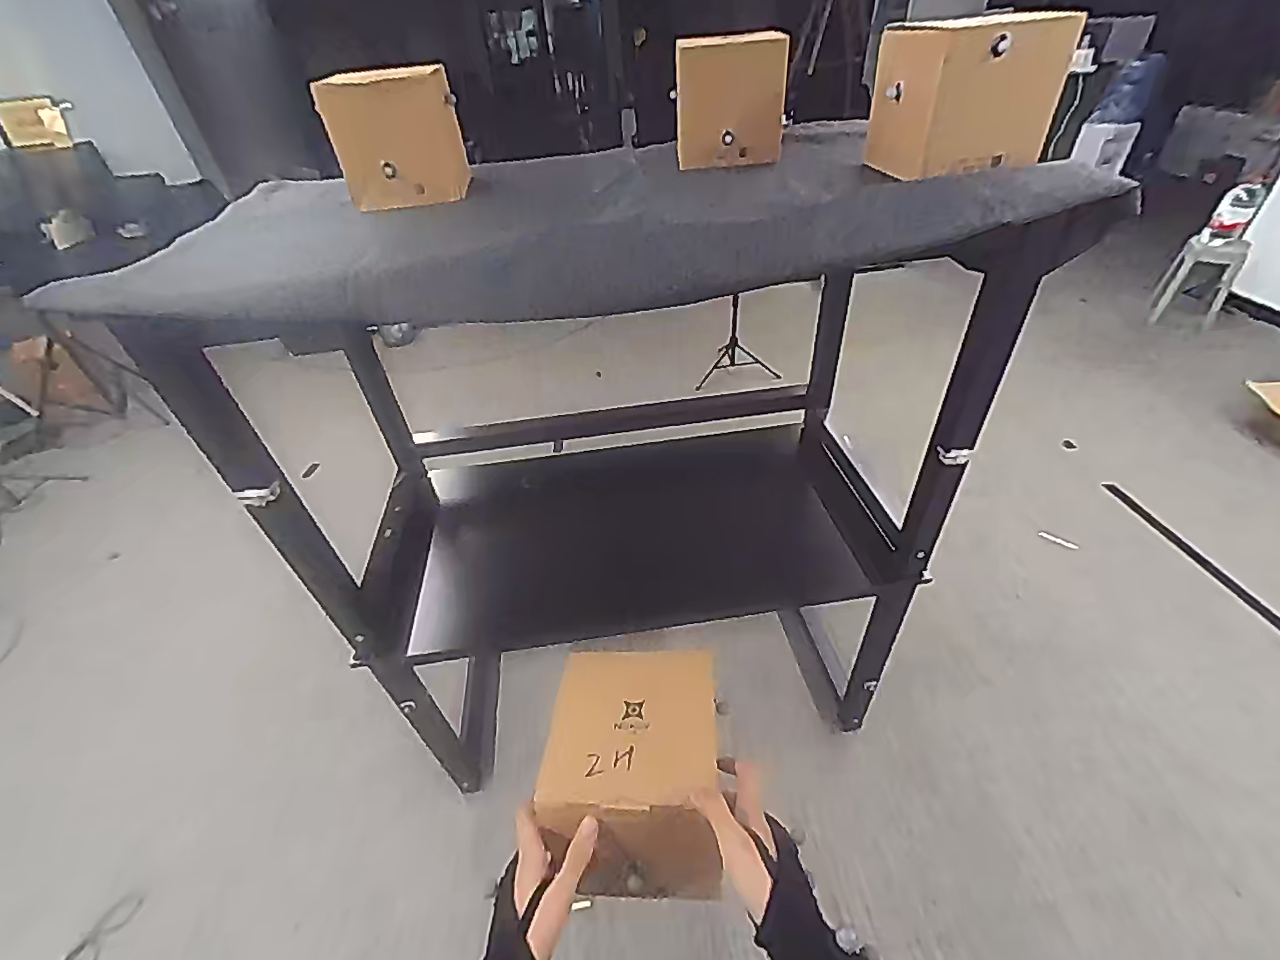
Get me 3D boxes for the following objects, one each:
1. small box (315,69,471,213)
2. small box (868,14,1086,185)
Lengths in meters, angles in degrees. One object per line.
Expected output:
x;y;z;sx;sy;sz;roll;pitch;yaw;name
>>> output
-0.378;-0.544;0.868;0.168;0.176;0.179;-9;41;-4;small box
0.433;-0.513;0.735;0.168;0.176;0.179;-8;39;-1;small box
